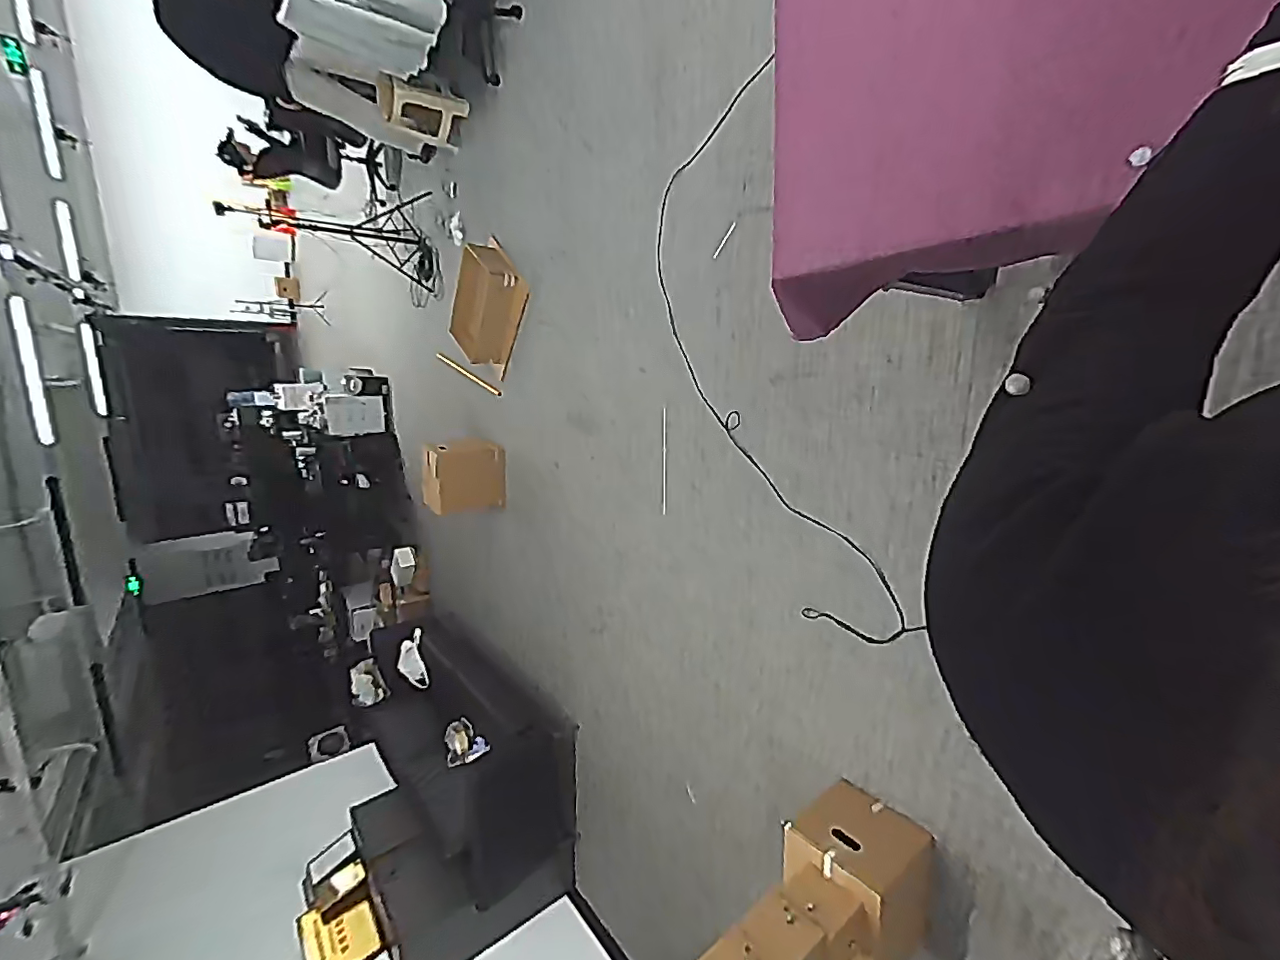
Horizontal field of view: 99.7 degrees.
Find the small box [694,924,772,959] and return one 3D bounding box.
[{"bbox_3d":[0.235,1.255,1.314,0.168,0.176,0.179,15,107,48],"label":"small box"}]

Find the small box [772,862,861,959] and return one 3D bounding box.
[{"bbox_3d":[0.493,1.225,1.518,0.179,0.176,0.168,10,105,49],"label":"small box"}]
